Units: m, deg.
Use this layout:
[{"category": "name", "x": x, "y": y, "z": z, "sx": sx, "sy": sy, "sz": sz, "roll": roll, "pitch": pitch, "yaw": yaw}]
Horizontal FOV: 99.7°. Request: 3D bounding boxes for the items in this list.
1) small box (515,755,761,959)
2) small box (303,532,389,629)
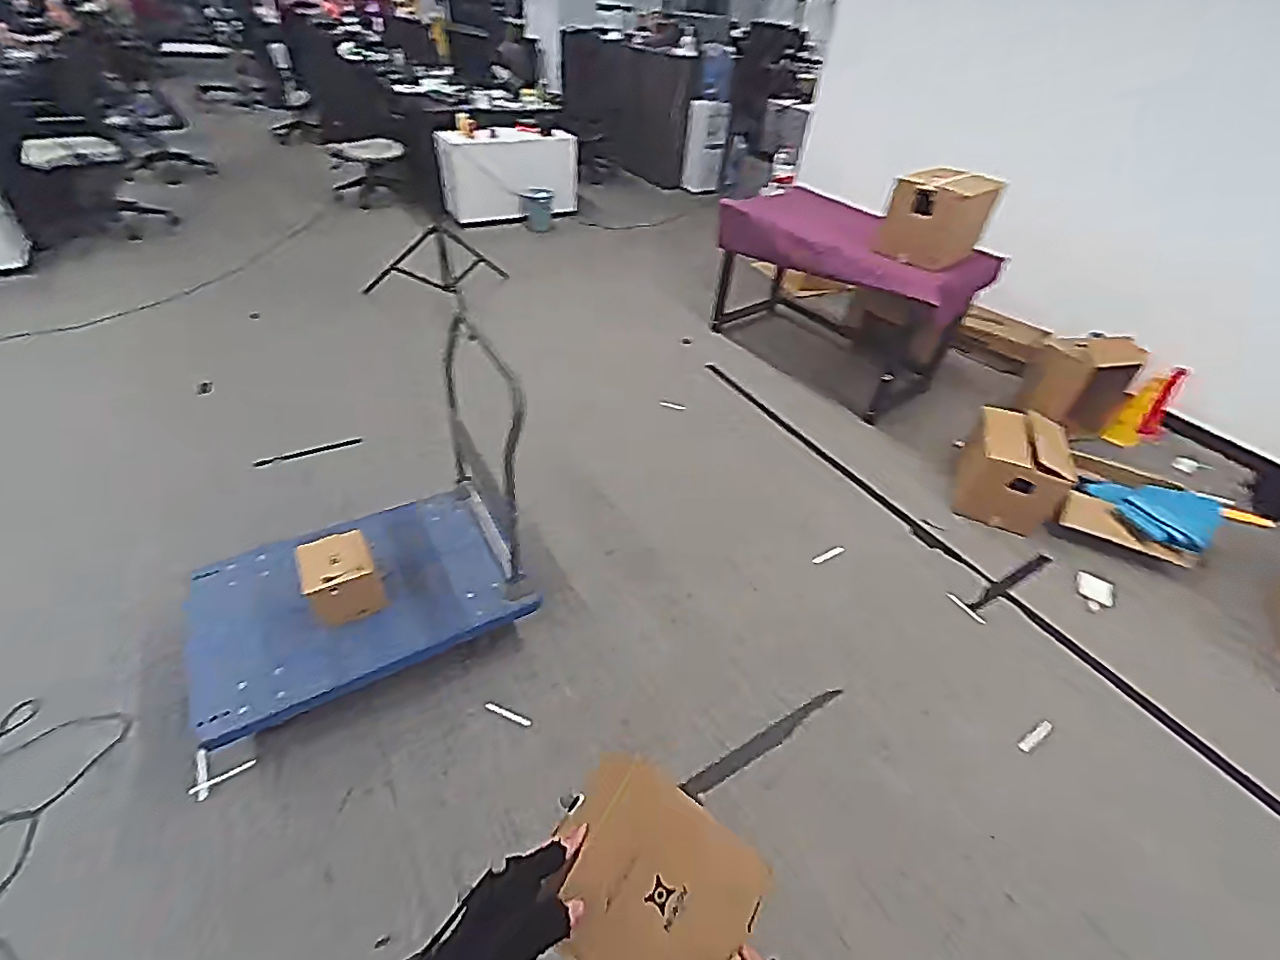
[{"category": "small box", "x": -0.011, "y": 0.411, "z": 0.570, "sx": 0.179, "sy": 0.176, "sz": 0.168, "roll": 36, "pitch": 60, "yaw": 1}, {"category": "small box", "x": -0.819, "y": 0.279, "z": 1.510, "sx": 0.168, "sy": 0.176, "sz": 0.179, "roll": -18, "pitch": 46, "yaw": -24}]
